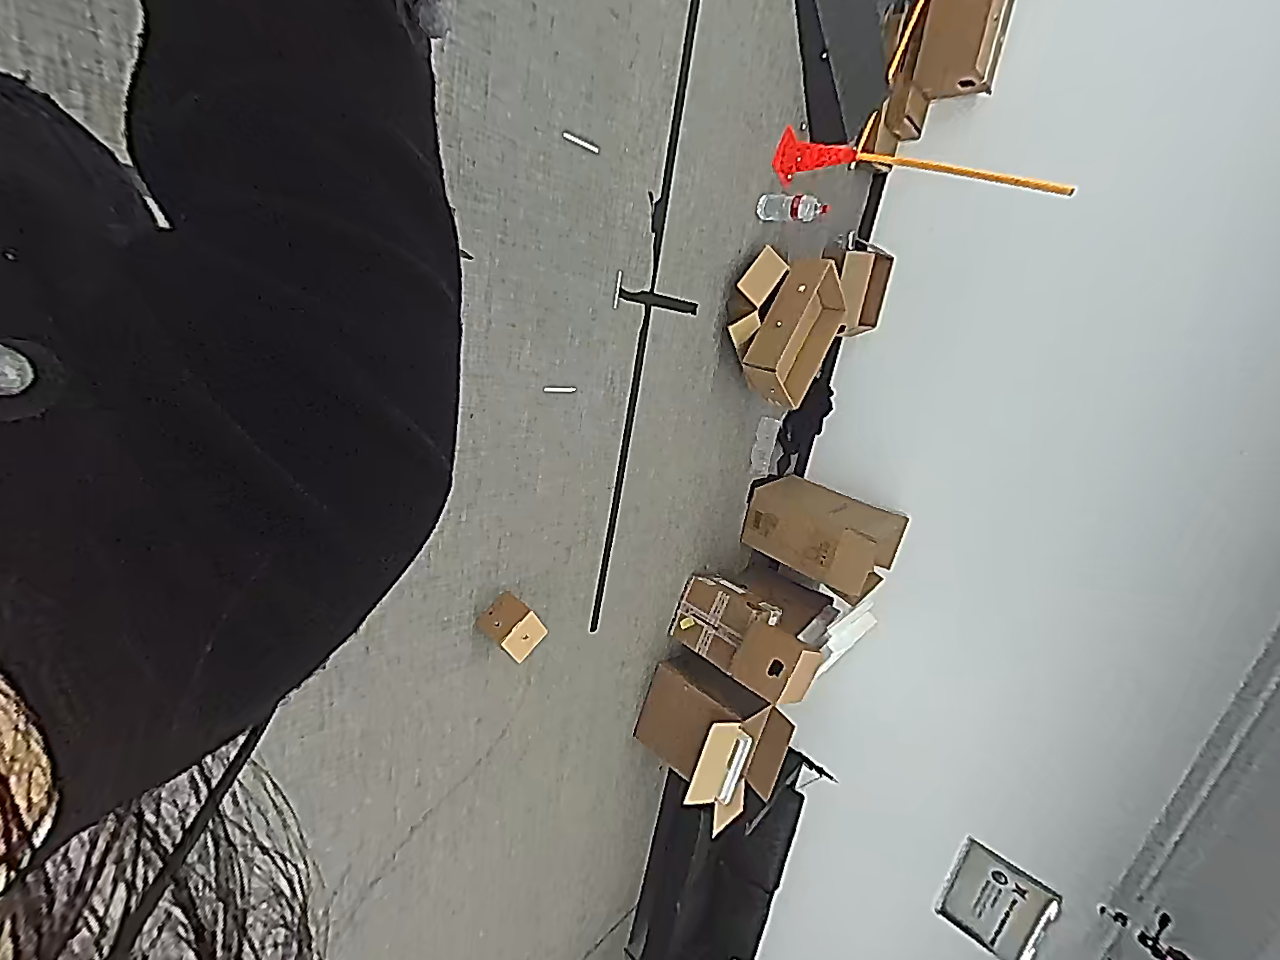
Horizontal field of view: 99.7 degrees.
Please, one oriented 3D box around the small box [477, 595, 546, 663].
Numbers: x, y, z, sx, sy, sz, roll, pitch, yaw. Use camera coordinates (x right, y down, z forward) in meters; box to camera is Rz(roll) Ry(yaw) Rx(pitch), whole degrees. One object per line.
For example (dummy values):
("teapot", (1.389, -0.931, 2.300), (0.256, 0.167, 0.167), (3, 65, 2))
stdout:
("small box", (-0.506, 0.574, 2.117), (0.168, 0.176, 0.179), (-46, 141, -24))
